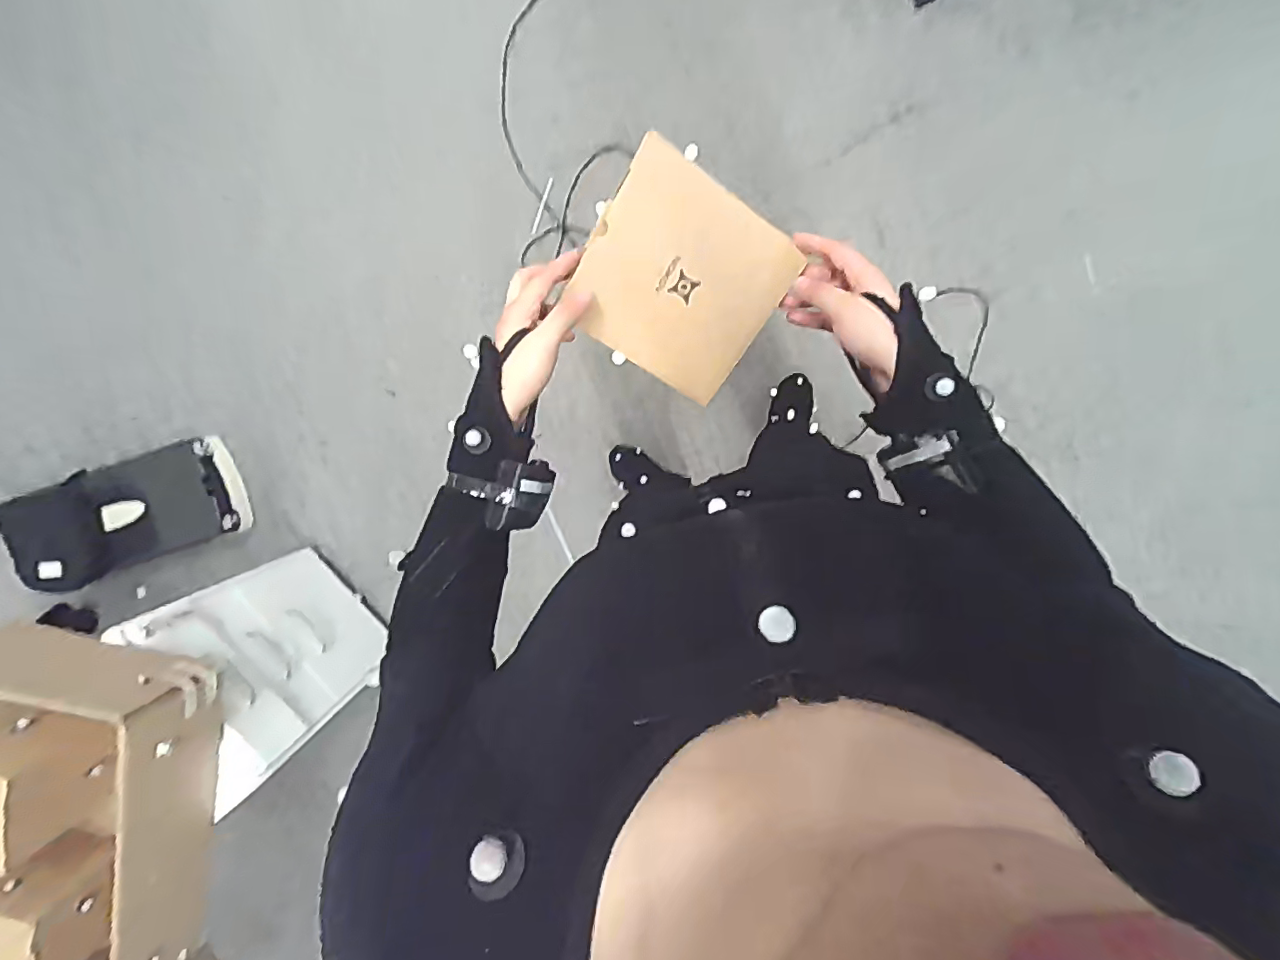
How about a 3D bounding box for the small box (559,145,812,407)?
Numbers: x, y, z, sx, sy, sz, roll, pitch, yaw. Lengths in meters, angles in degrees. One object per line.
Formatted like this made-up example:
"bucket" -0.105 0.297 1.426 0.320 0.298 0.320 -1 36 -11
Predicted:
"small box" 0.038 -0.208 0.560 0.179 0.176 0.168 30 110 -14
